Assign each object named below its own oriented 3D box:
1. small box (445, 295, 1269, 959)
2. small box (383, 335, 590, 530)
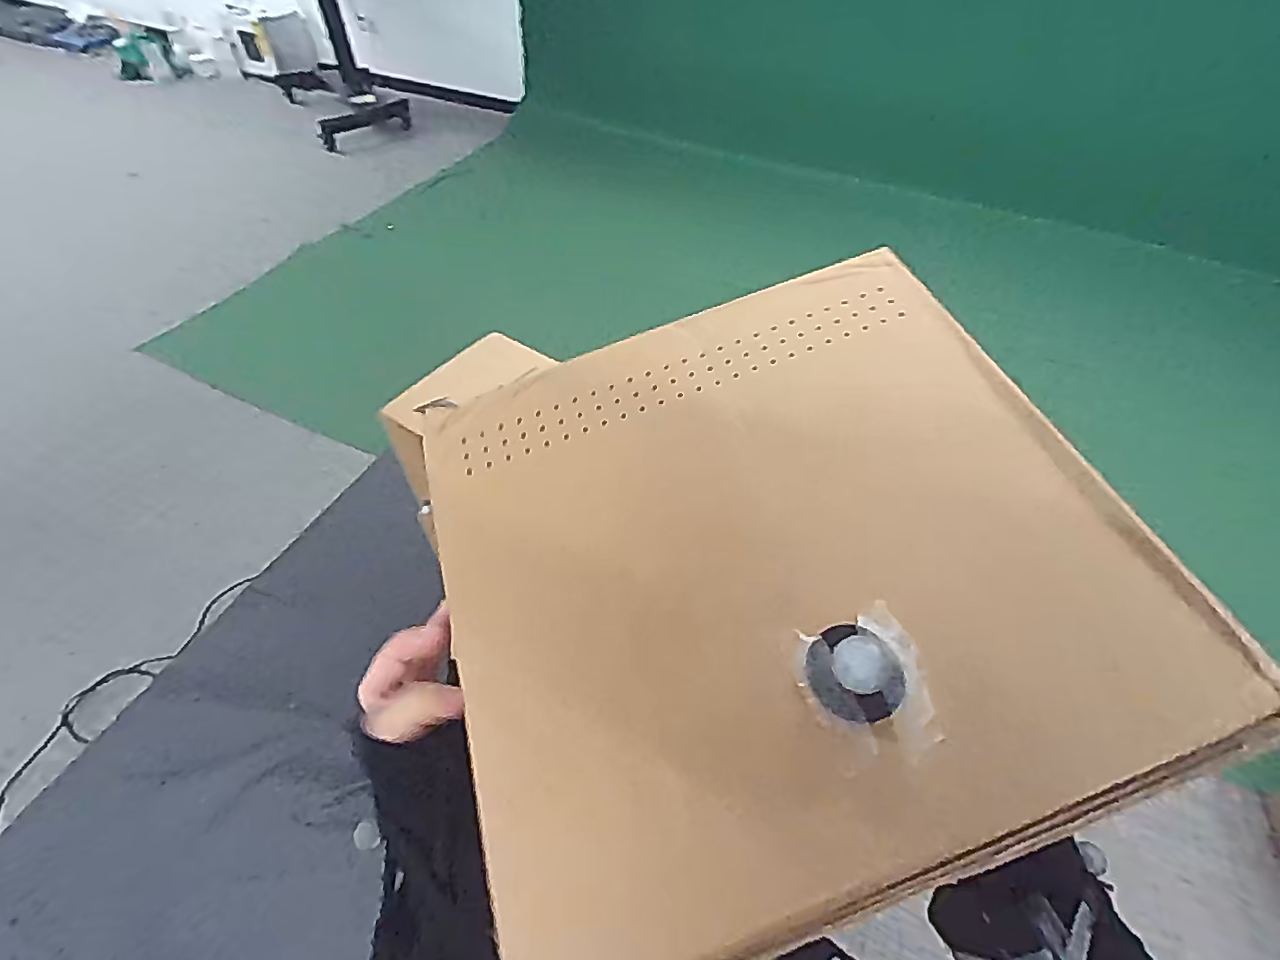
[{"bbox_3d":[0.044,0.056,0.222,0.179,0.168,0.176,-21,58,-3],"label":"small box"},{"bbox_3d":[-0.159,-0.035,0.645,0.168,0.176,0.179,29,54,18],"label":"small box"}]
